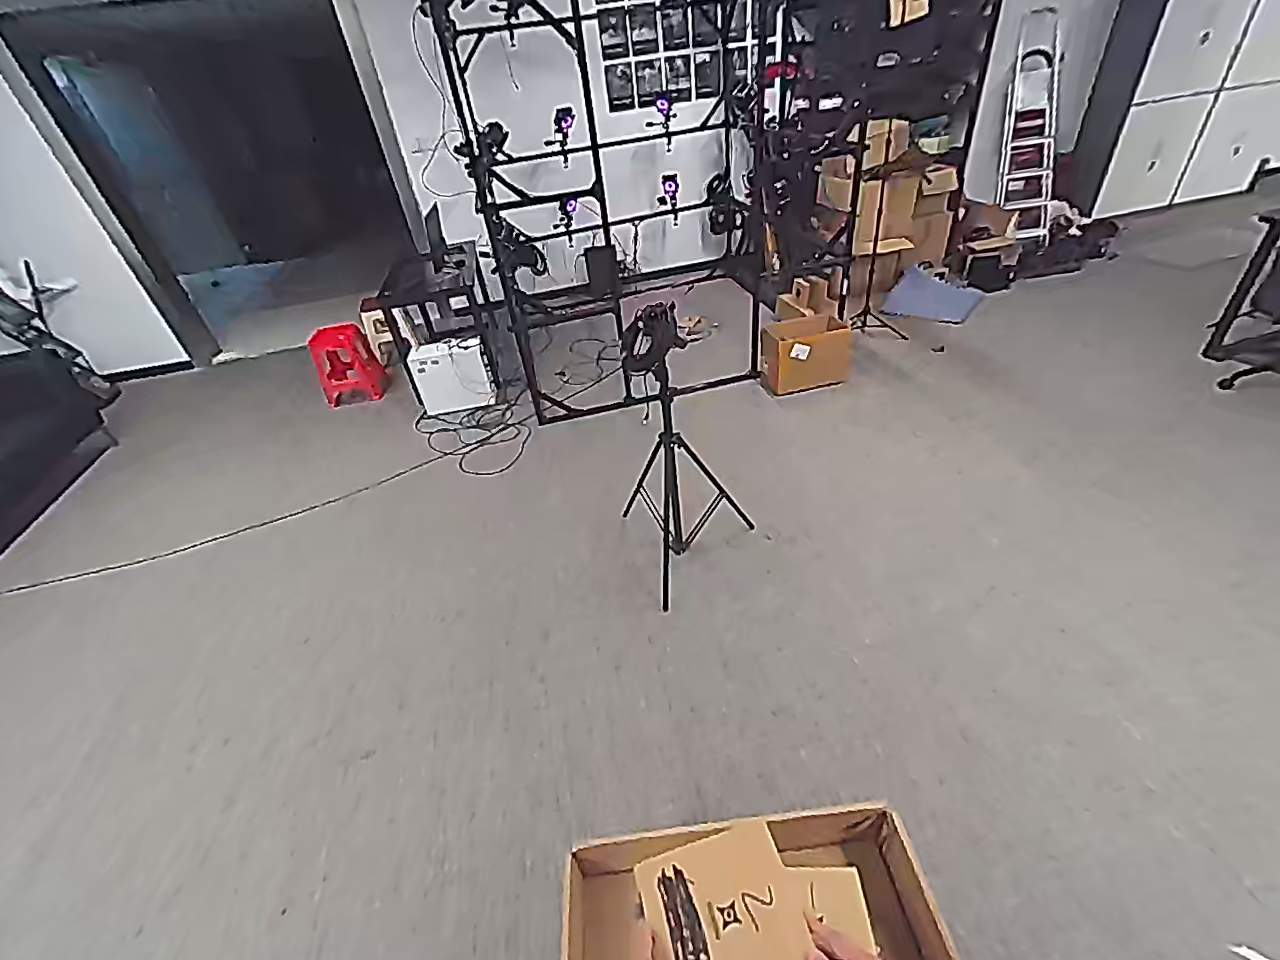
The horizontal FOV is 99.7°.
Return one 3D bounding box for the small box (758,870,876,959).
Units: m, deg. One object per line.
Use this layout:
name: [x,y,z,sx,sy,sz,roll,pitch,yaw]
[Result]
small box: [0.288,0.775,0.889,0.168,0.176,0.179,-4,36,6]
